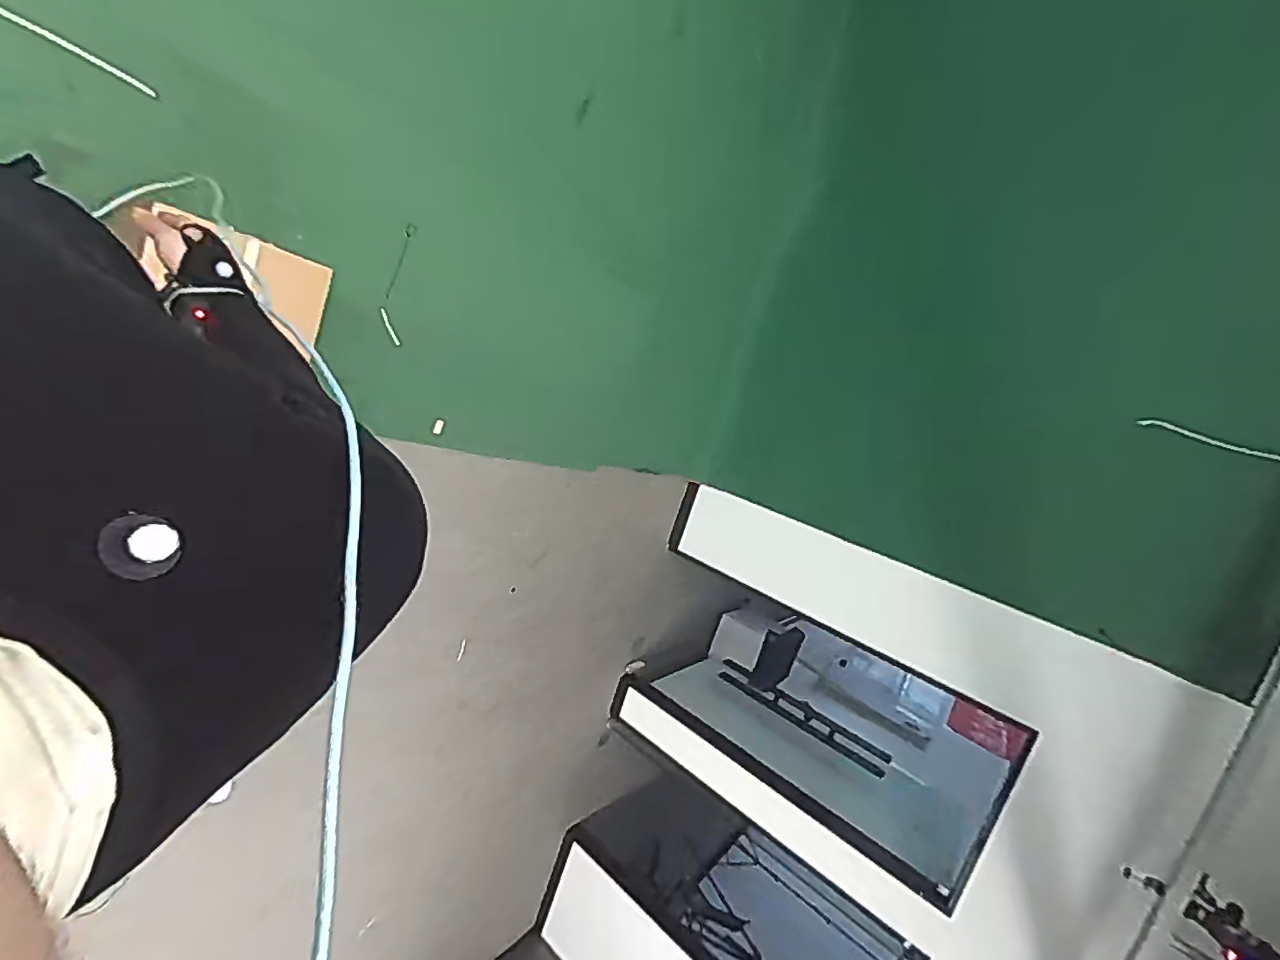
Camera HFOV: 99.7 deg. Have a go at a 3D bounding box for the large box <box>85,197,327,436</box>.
[{"bbox_3d":[-0.963,-0.351,1.203,0.320,0.320,0.408,8,104,-55],"label":"large box"}]
